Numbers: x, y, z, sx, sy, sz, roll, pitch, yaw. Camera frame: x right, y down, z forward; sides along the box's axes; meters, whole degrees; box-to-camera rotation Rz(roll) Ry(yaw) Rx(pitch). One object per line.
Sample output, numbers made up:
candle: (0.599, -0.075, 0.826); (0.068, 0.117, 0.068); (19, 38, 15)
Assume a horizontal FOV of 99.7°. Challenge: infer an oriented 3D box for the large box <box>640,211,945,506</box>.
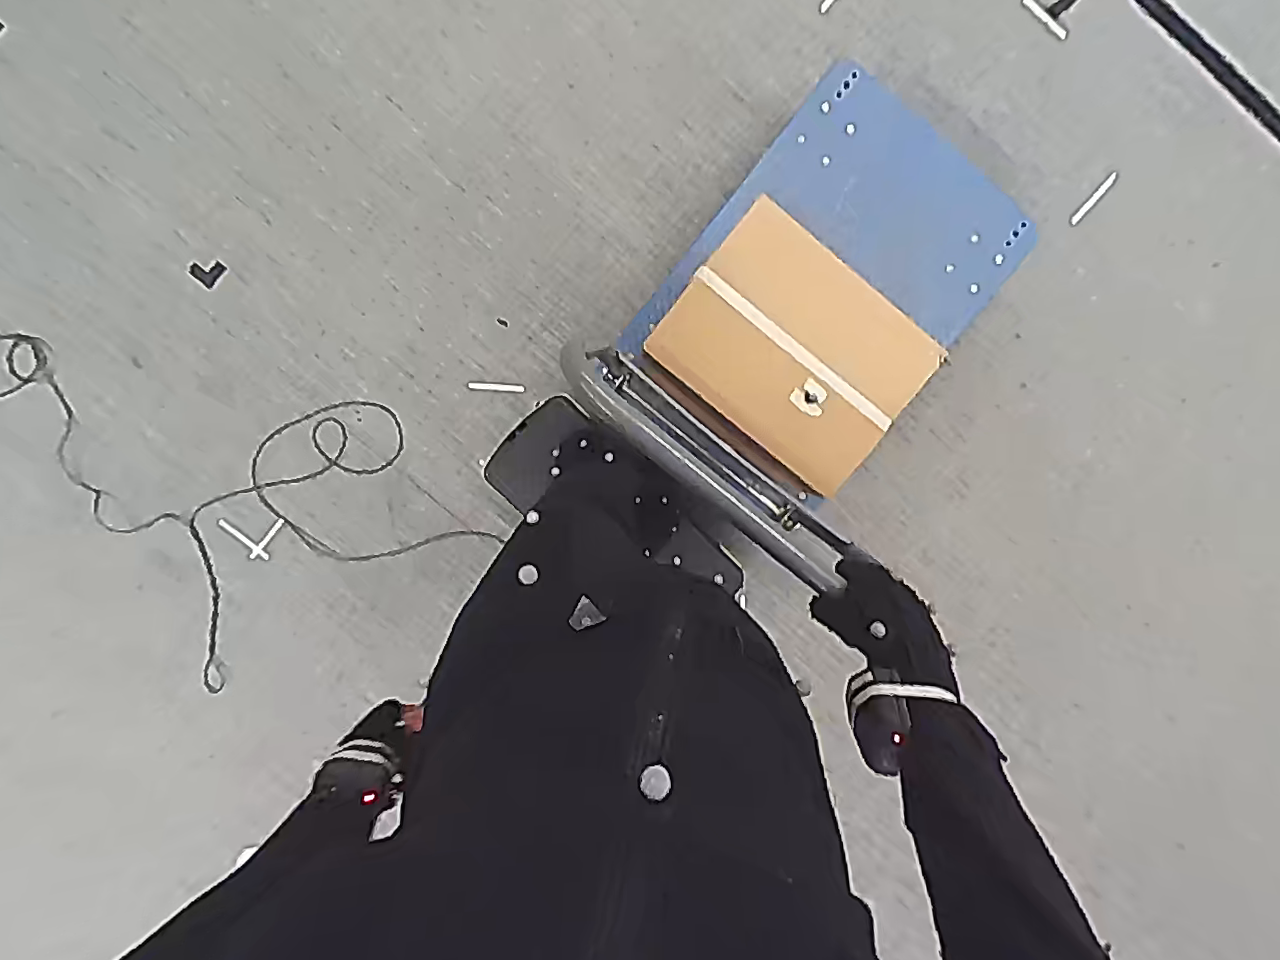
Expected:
large box: (0.248, -0.205, 1.026); (0.408, 0.320, 0.320); (39, 94, -4)
